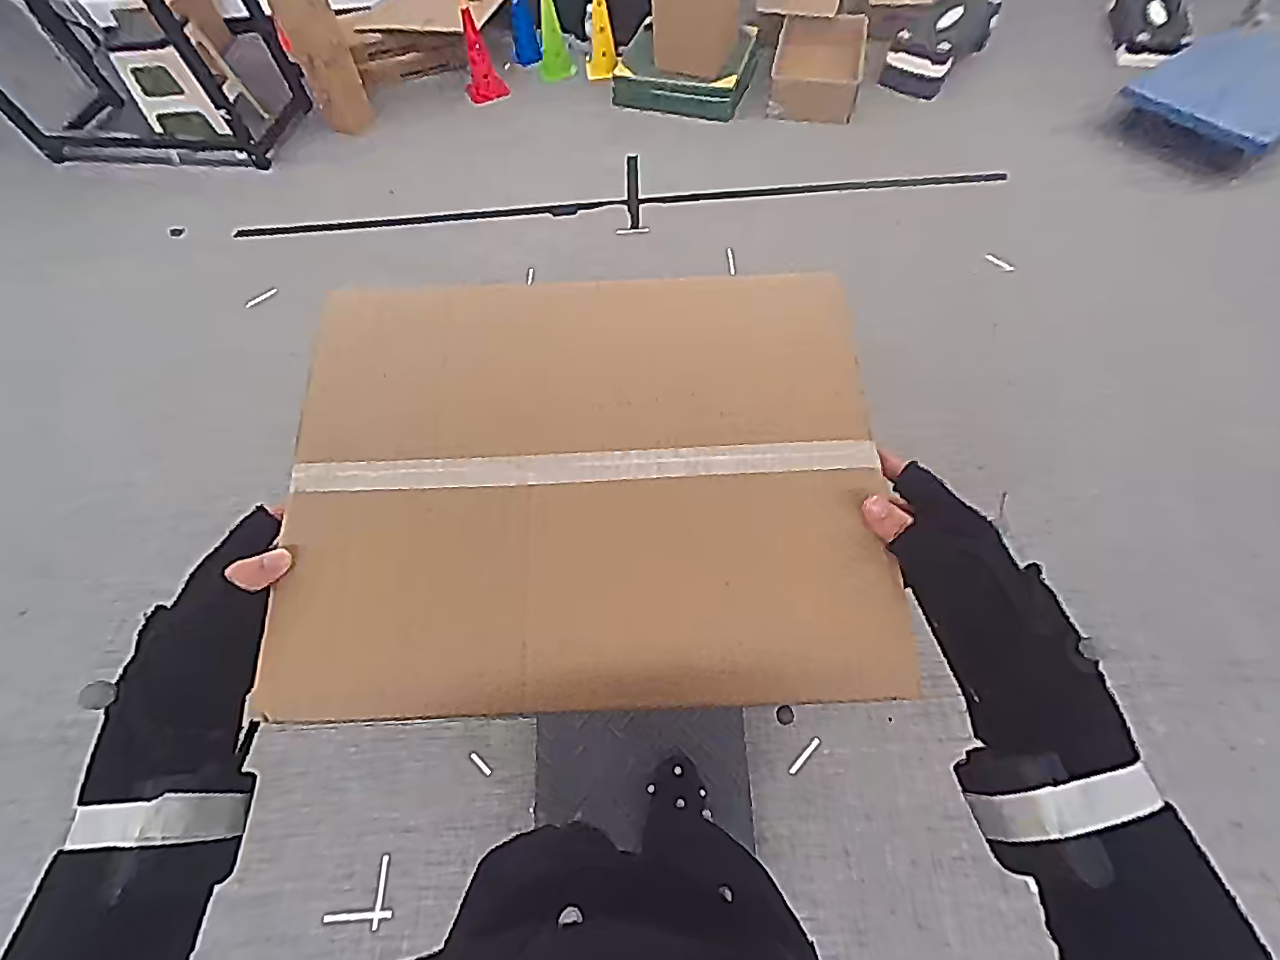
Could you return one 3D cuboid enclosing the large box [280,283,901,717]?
[{"bbox_3d":[-0.035,0.040,0.528,0.408,0.320,0.320,-2,71,-1],"label":"large box"}]
